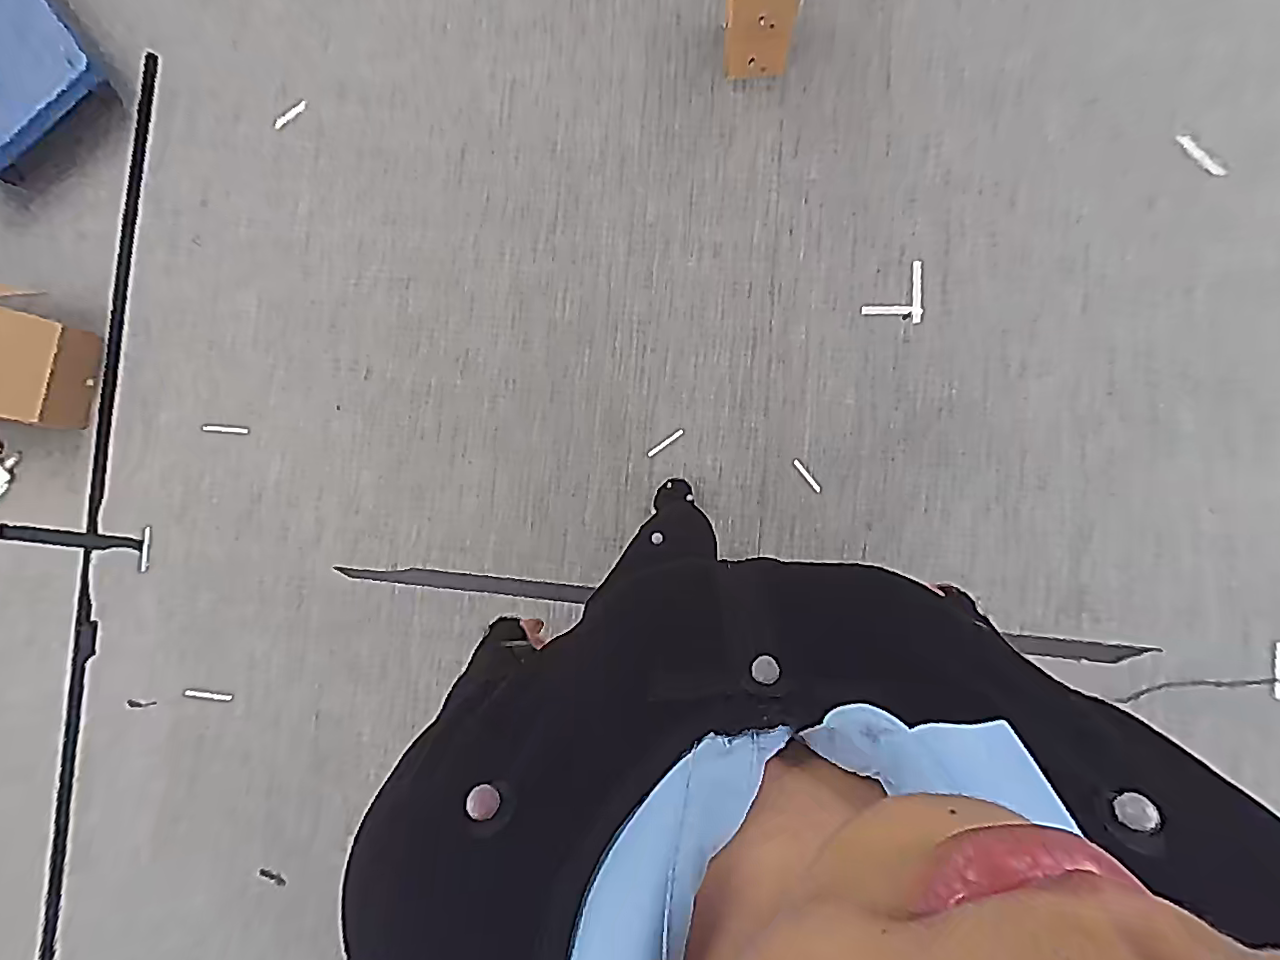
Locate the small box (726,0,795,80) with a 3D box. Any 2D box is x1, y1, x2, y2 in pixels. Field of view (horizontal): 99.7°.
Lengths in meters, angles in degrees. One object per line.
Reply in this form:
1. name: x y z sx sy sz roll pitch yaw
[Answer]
1. small box: 0.324 -1.248 1.479 0.168 0.176 0.179 -2 87 6
